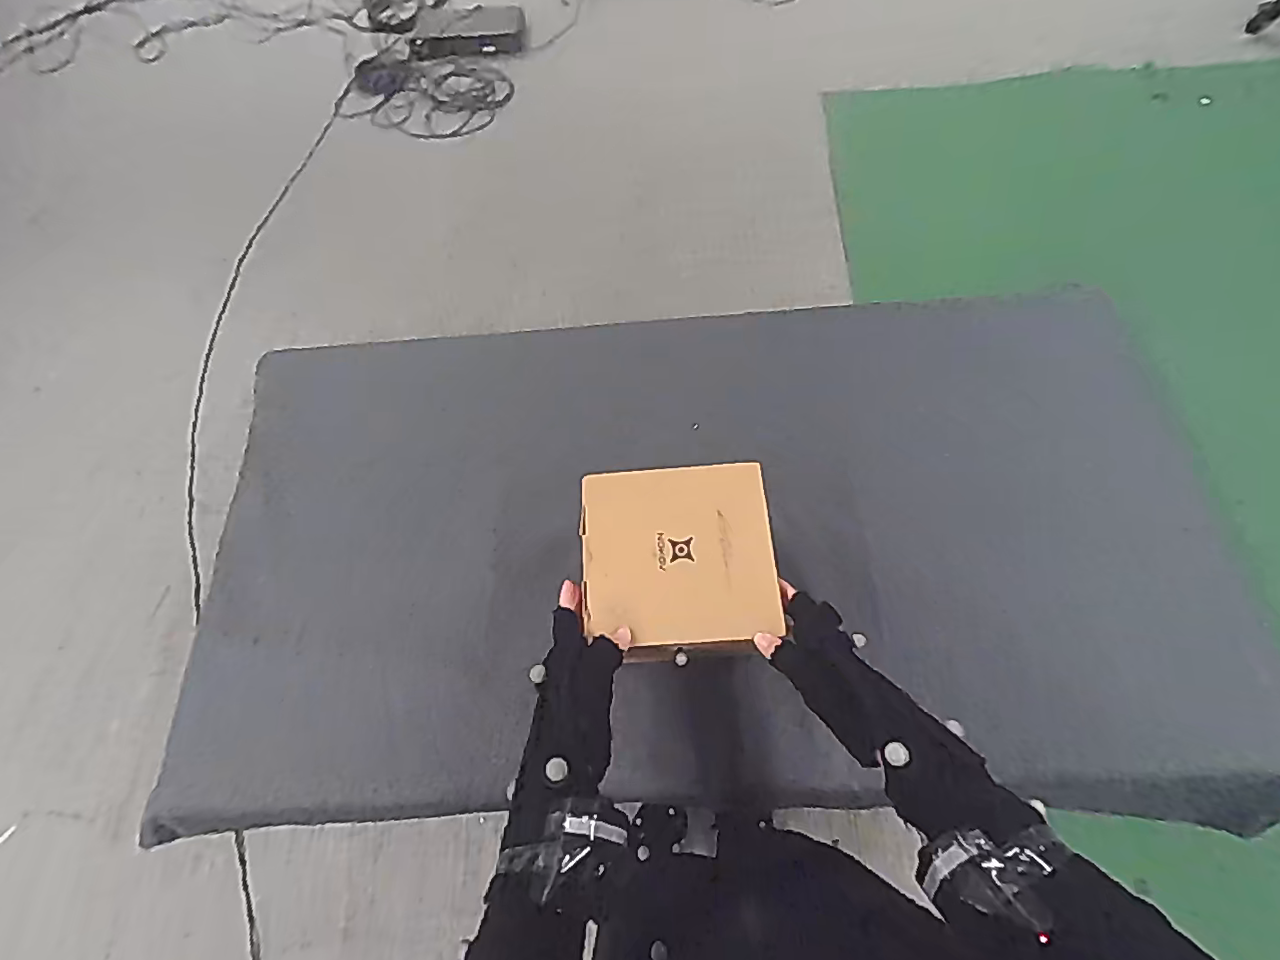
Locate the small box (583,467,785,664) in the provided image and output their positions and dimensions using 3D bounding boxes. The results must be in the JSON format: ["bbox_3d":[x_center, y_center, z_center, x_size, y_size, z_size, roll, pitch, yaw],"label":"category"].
[{"bbox_3d":[0.040,0.100,0.573,0.179,0.176,0.168,-5,68,1],"label":"small box"}]
